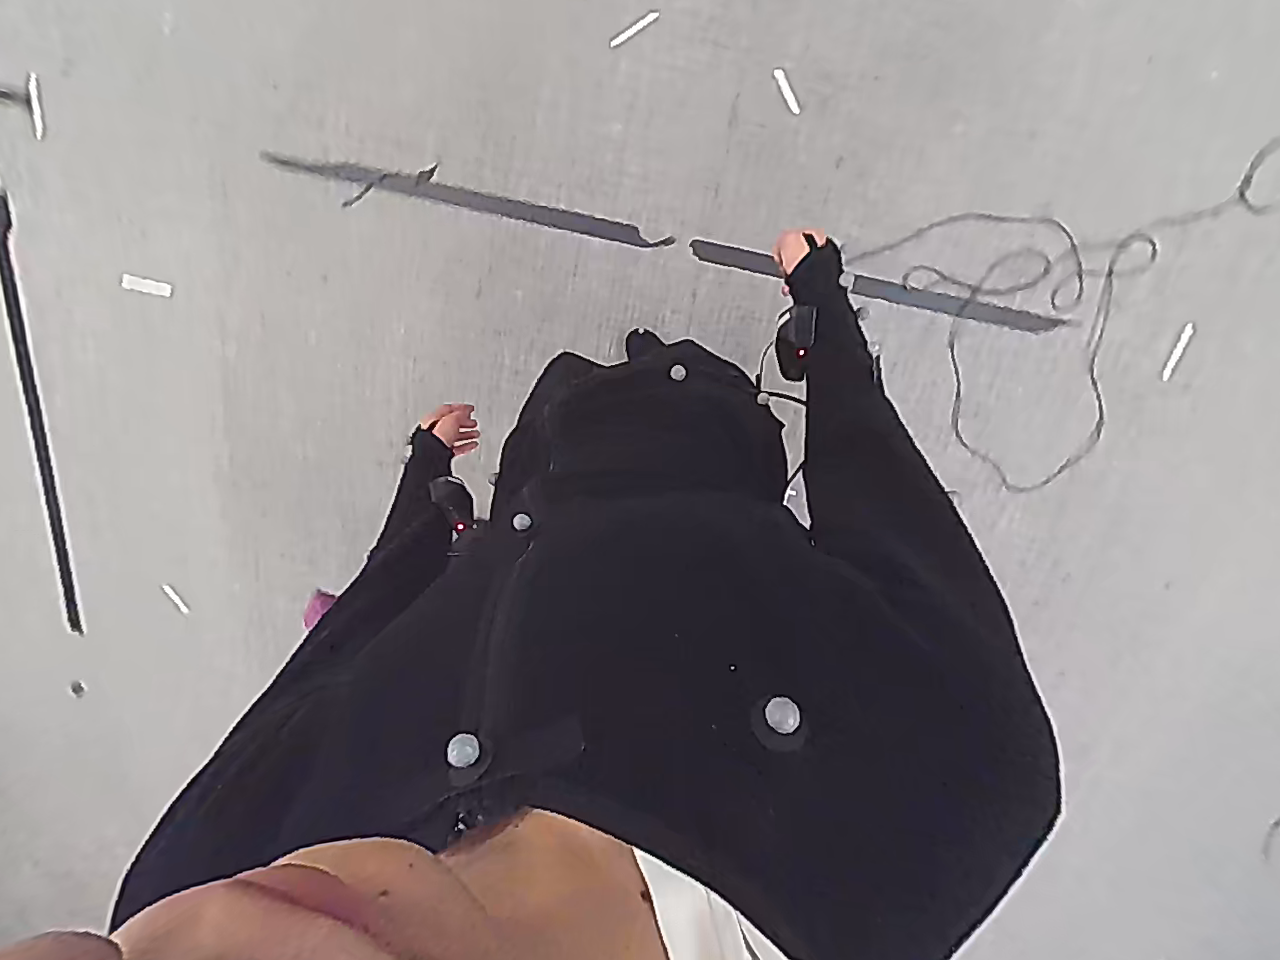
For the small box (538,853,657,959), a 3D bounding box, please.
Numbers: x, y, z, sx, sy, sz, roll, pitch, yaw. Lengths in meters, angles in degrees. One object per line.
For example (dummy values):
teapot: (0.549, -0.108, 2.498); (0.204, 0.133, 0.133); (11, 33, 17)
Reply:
small box: (-0.070, 0.759, 0.893); (0.179, 0.176, 0.168); (9, 110, 2)
